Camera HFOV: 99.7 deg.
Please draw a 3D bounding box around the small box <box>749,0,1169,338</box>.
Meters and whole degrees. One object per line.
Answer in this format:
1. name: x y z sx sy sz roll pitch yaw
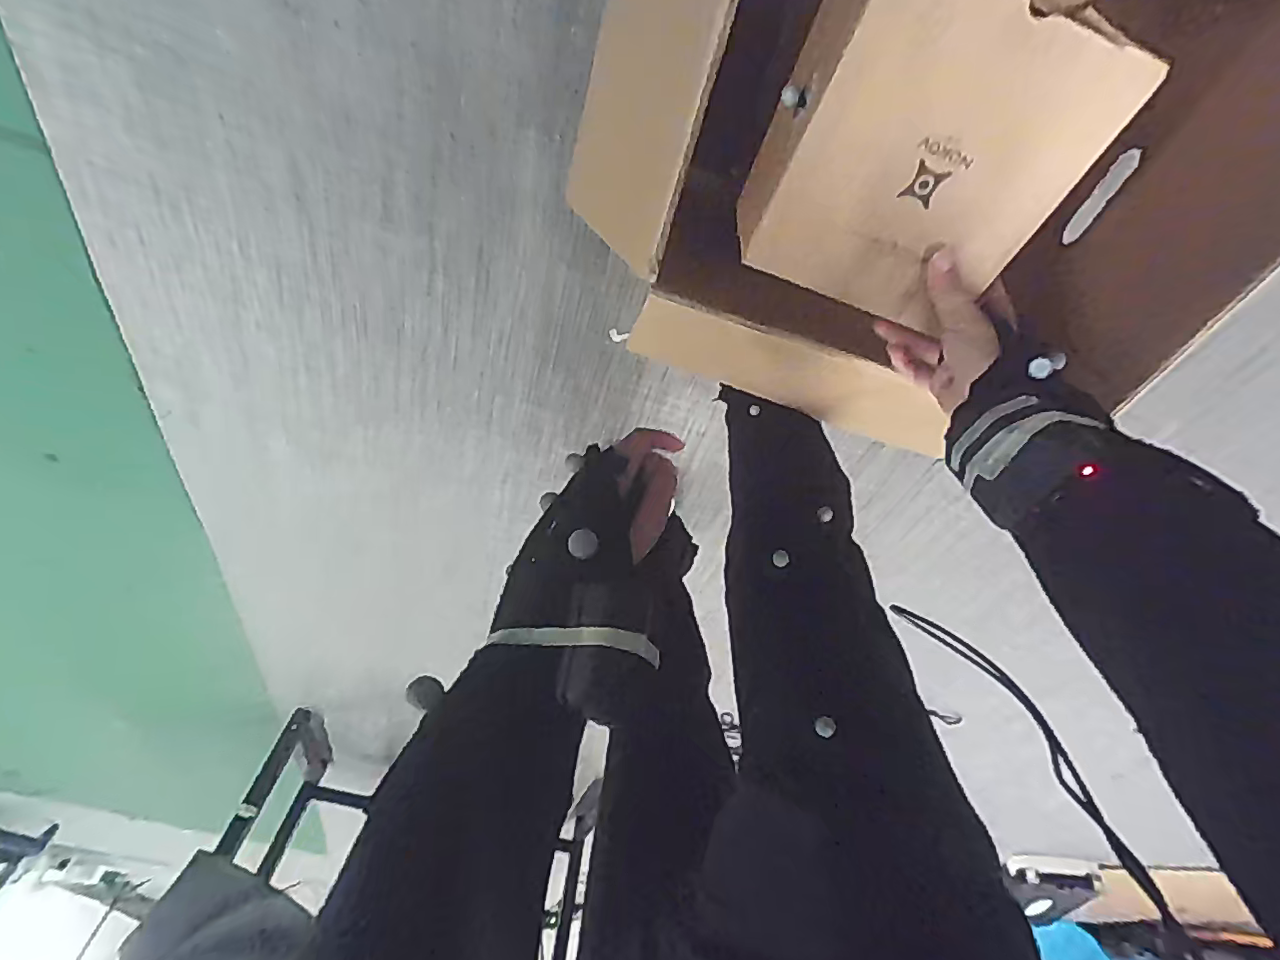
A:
1. small box: 0.188 -0.241 0.389 0.168 0.176 0.179 18 134 -10
